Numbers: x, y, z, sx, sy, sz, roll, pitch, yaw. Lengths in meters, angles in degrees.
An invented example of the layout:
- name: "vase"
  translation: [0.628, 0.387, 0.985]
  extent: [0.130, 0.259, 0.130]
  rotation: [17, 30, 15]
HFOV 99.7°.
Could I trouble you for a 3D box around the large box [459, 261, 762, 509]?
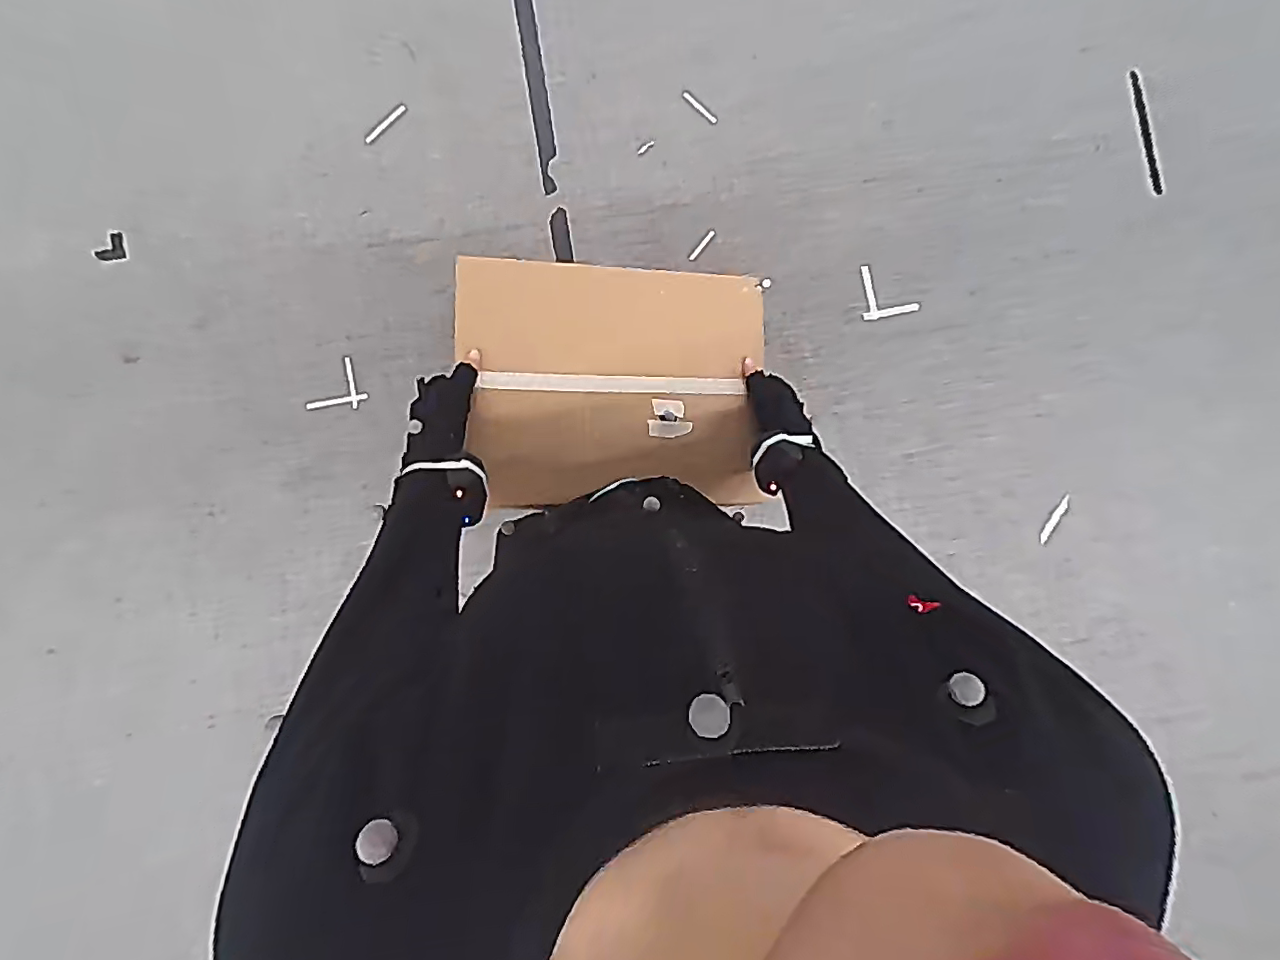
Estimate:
- name: "large box"
  translation: [-0.061, -0.116, 0.856]
  extent: [0.408, 0.320, 0.320]
  rotation: [0, 87, -12]
